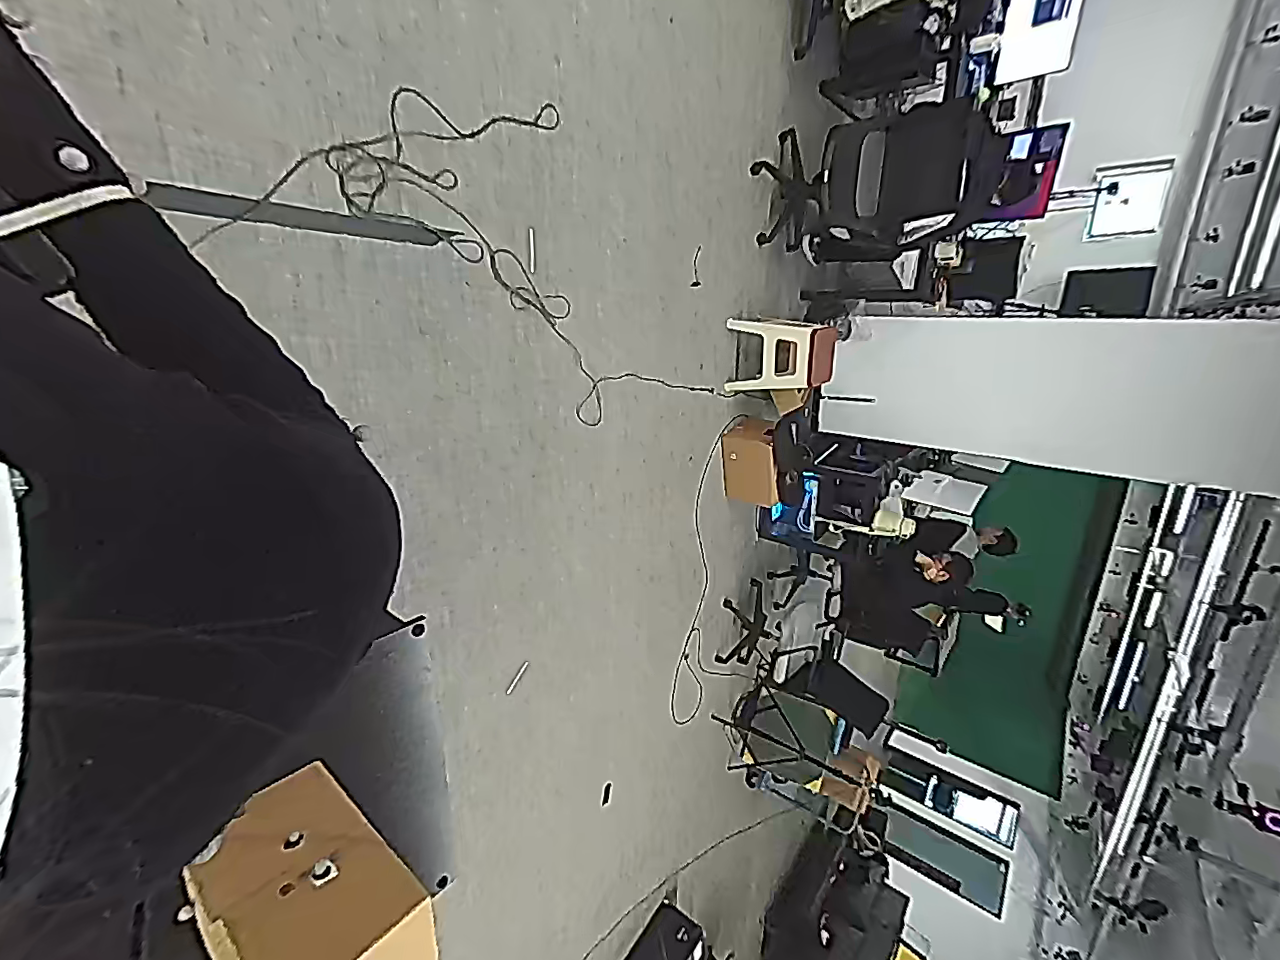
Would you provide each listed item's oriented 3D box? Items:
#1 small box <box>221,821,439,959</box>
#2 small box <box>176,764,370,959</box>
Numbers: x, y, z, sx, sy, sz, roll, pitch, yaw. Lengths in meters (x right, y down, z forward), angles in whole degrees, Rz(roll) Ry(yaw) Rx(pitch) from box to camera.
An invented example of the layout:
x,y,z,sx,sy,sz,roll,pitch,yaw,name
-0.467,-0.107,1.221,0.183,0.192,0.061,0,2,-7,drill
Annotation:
x,y,z,sx,sy,sz,roll,pitch,yaw,name
-0.361,0.562,0.642,0.168,0.176,0.179,-20,116,-50,small box
-0.489,0.533,0.738,0.179,0.176,0.168,-17,114,-48,small box
